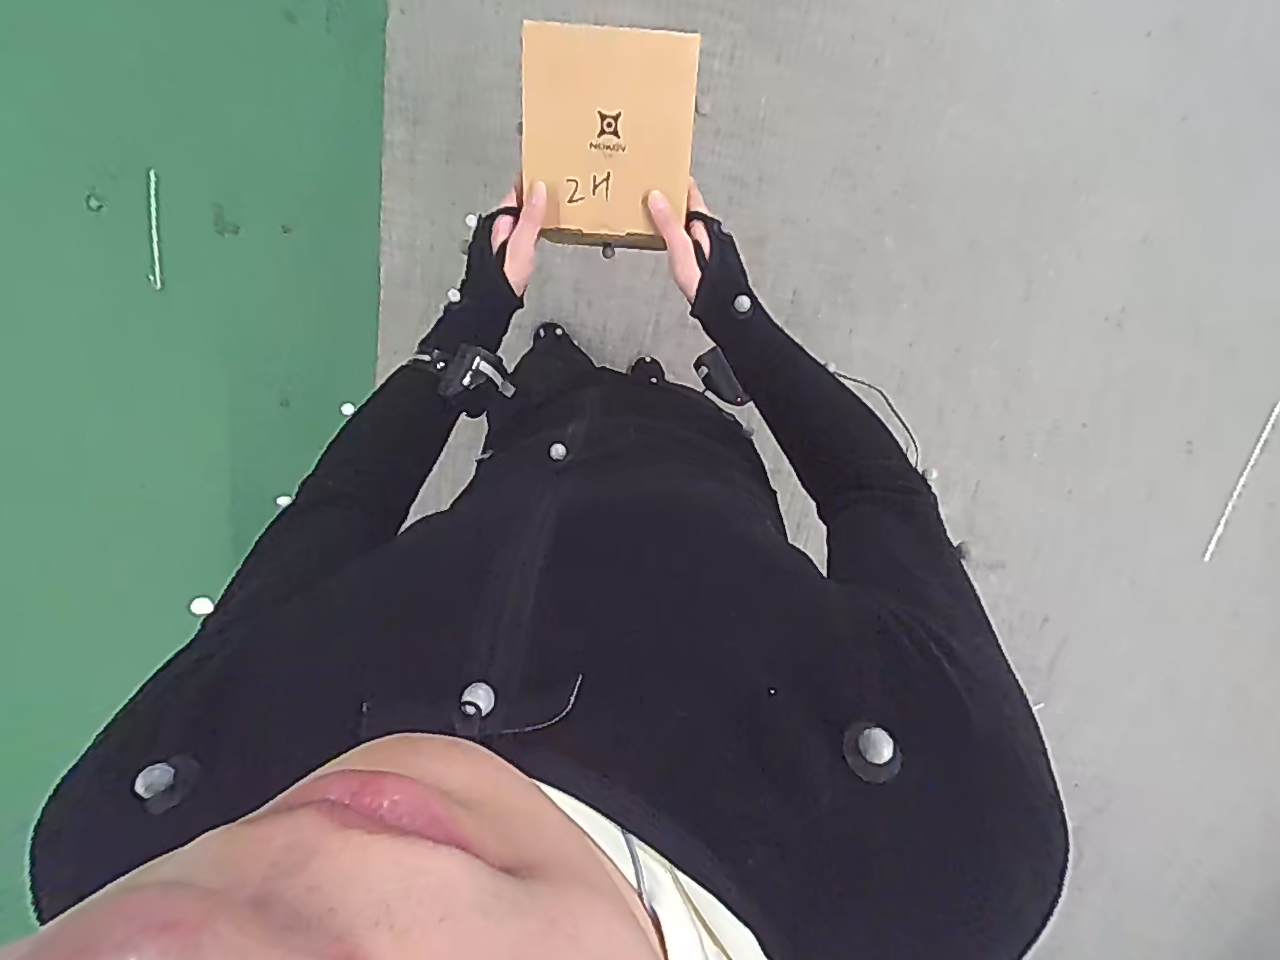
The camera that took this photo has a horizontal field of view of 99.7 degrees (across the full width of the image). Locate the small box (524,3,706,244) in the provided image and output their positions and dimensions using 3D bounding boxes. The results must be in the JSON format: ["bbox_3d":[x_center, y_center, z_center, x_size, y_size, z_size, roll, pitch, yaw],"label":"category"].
[{"bbox_3d":[-0.028,-0.366,0.591,0.168,0.176,0.179,4,109,-1],"label":"small box"}]
